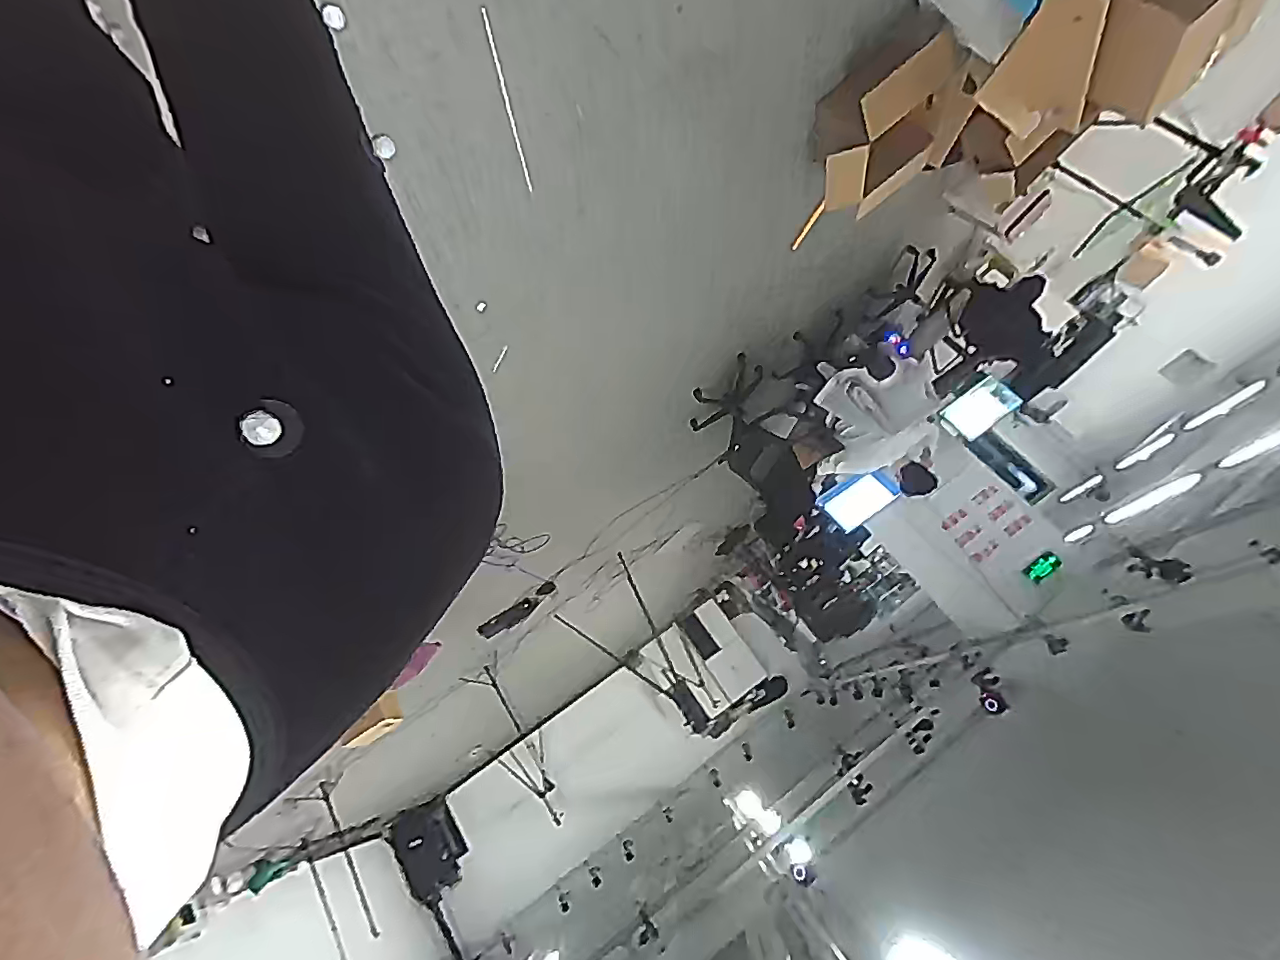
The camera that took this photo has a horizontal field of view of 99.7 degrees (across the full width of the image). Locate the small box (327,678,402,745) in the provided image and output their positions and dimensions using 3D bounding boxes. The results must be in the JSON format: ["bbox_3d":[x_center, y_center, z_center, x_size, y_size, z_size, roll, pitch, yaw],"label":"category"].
[{"bbox_3d":[-1.053,0.882,2.067,0.179,0.176,0.168,-32,158,-11],"label":"small box"}]
